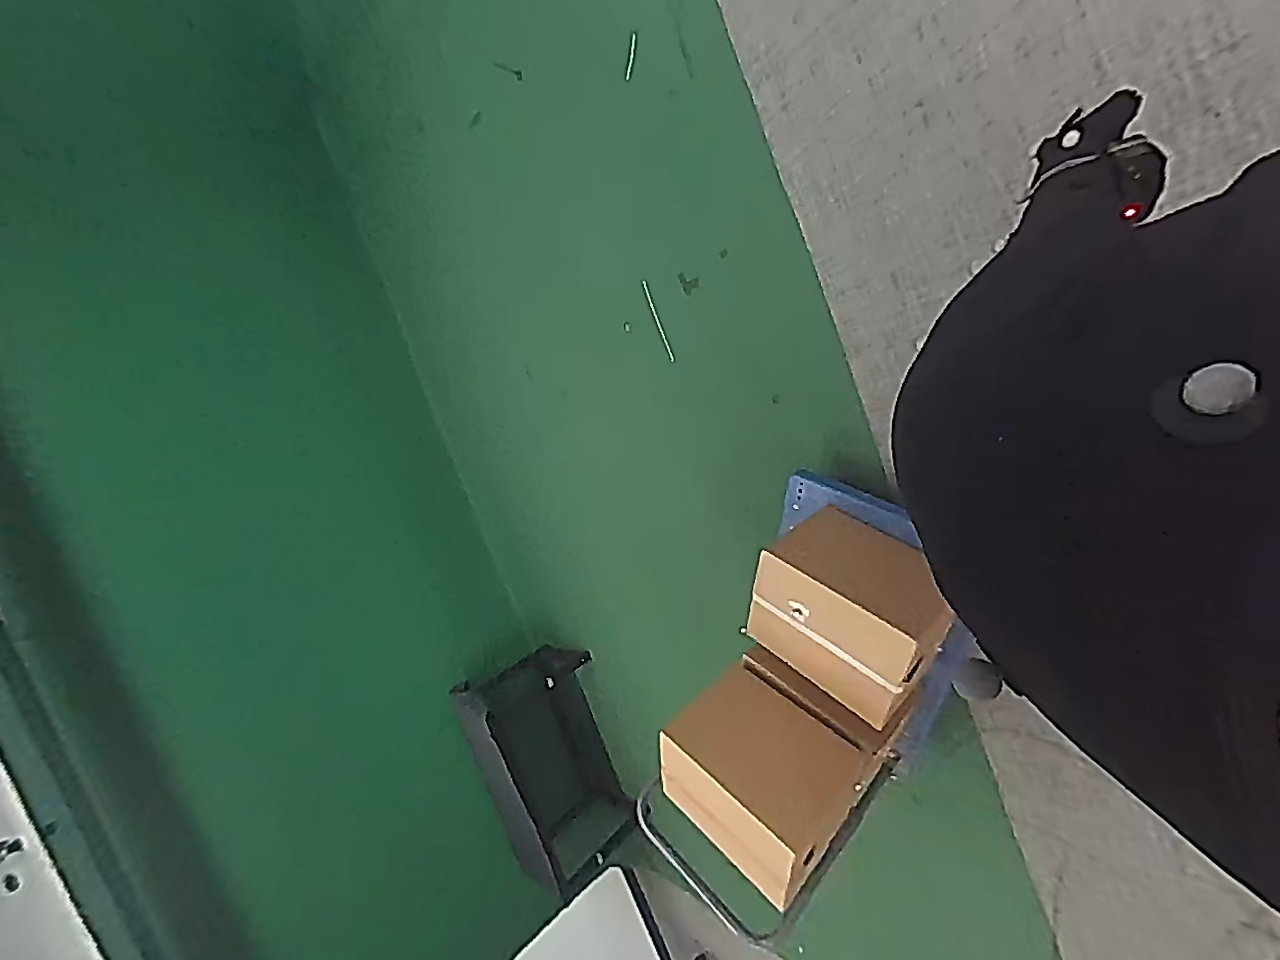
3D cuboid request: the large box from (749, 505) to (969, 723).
[{"bbox_3d":[0.553,0.326,1.414,0.408,0.320,0.320,32,133,37],"label":"large box"}]
